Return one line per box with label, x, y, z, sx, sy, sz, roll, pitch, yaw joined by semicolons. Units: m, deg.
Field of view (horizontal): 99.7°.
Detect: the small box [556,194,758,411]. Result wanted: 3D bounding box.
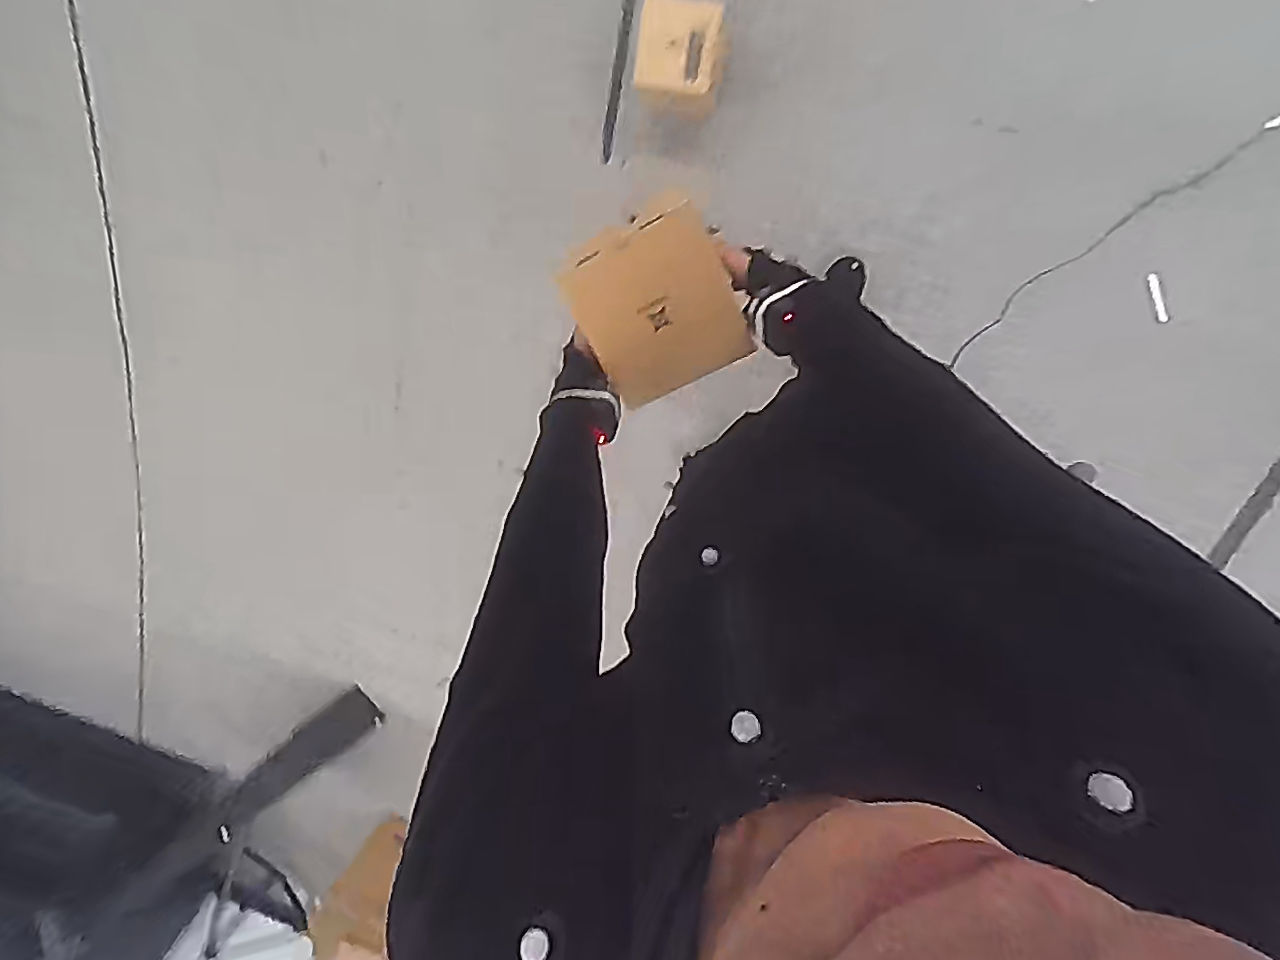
small box;0.024;-0.217;0.649;0.168;0.176;0.179;-25;117;15
